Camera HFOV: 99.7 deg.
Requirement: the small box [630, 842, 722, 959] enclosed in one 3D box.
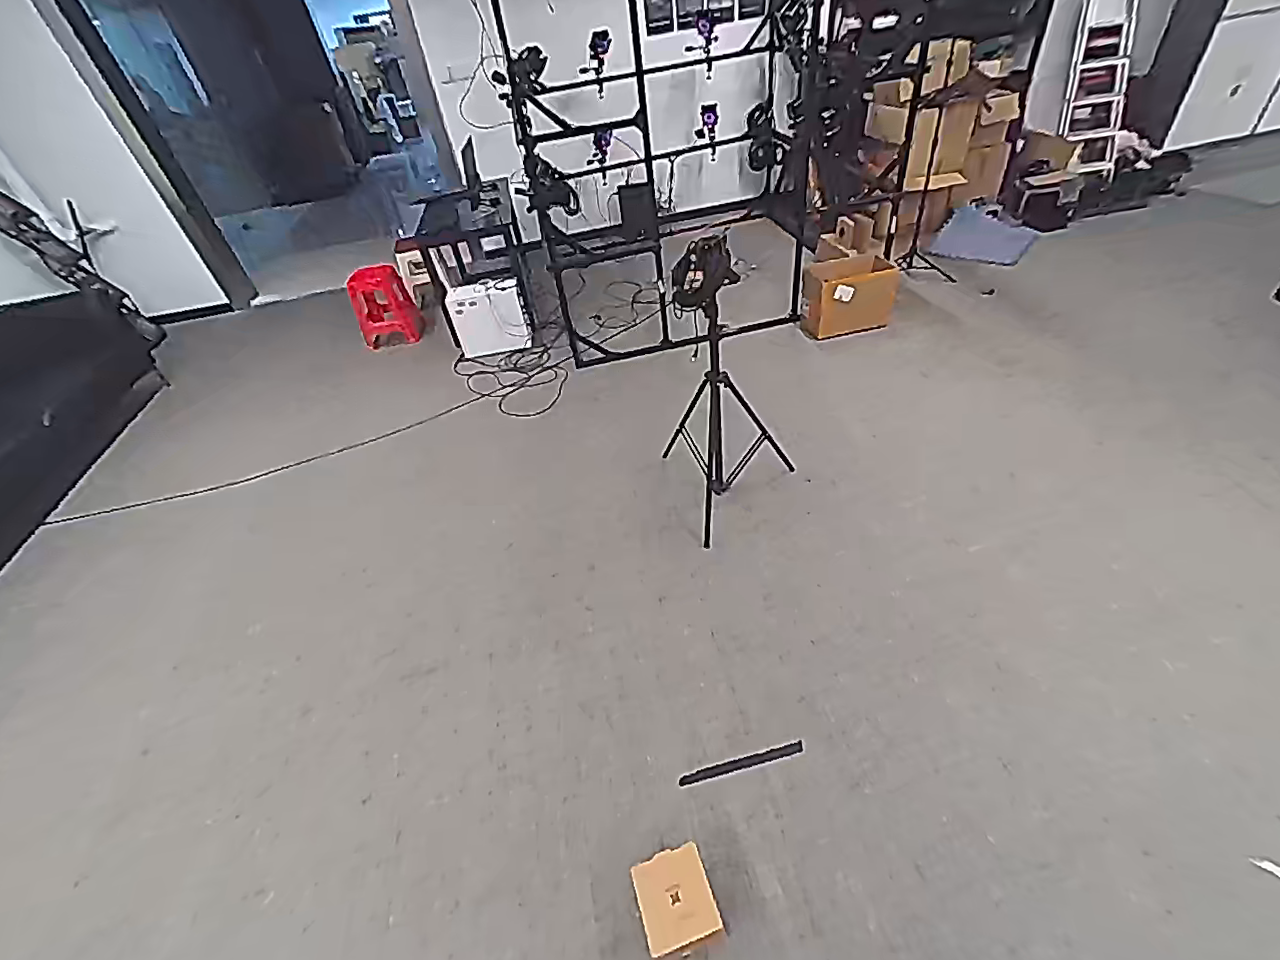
[{"bbox_3d":[0.084,0.999,1.269,0.168,0.176,0.179,-17,42,-8],"label":"small box"}]
